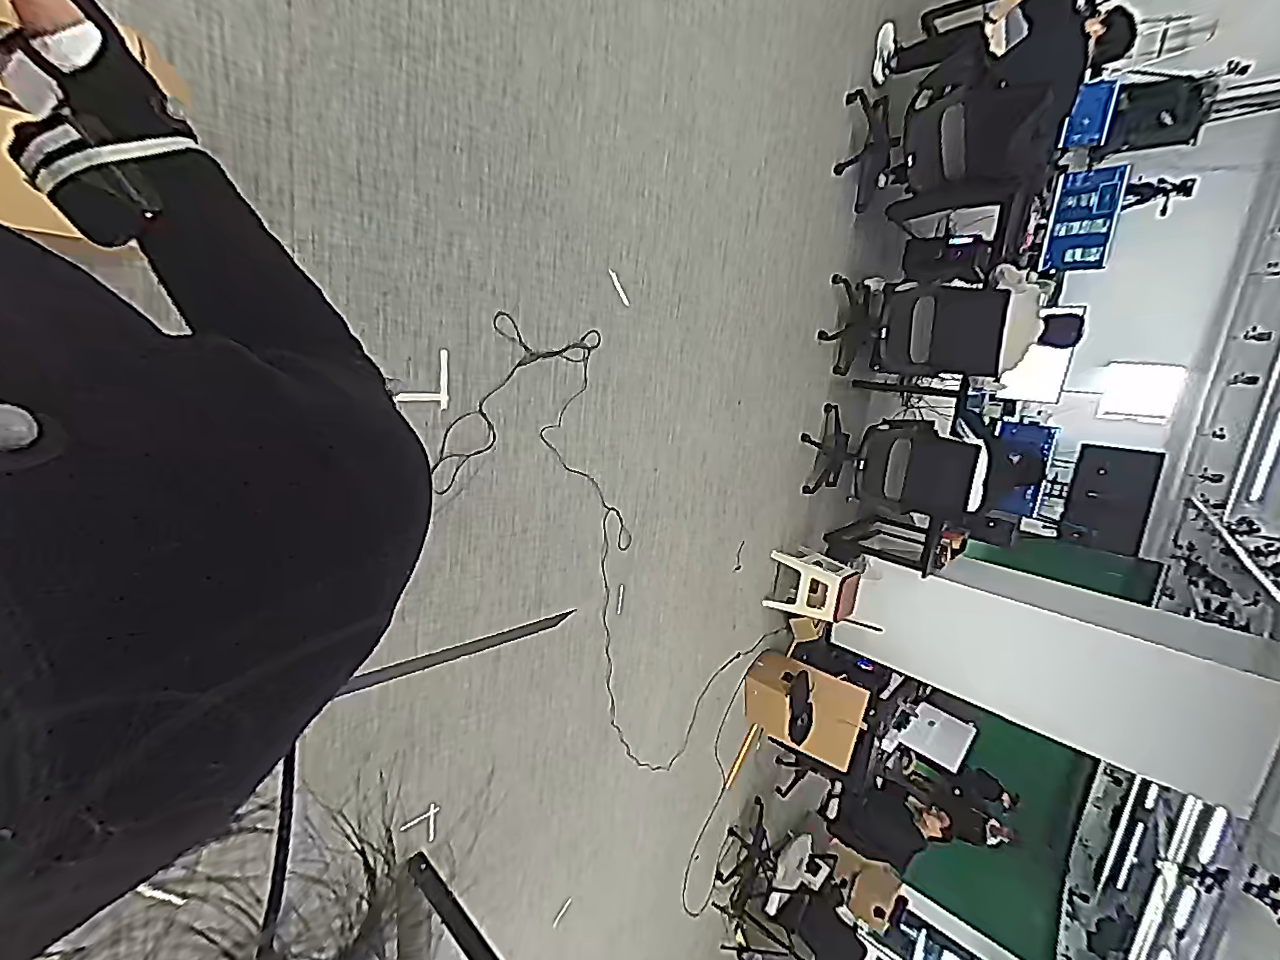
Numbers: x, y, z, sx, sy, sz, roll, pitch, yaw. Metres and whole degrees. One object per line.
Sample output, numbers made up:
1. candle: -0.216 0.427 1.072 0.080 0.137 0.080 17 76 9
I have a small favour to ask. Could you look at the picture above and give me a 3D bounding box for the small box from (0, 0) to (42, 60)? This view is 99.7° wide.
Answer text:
1. small box: -0.378 -0.284 0.197 0.168 0.176 0.179 -23 129 -48
